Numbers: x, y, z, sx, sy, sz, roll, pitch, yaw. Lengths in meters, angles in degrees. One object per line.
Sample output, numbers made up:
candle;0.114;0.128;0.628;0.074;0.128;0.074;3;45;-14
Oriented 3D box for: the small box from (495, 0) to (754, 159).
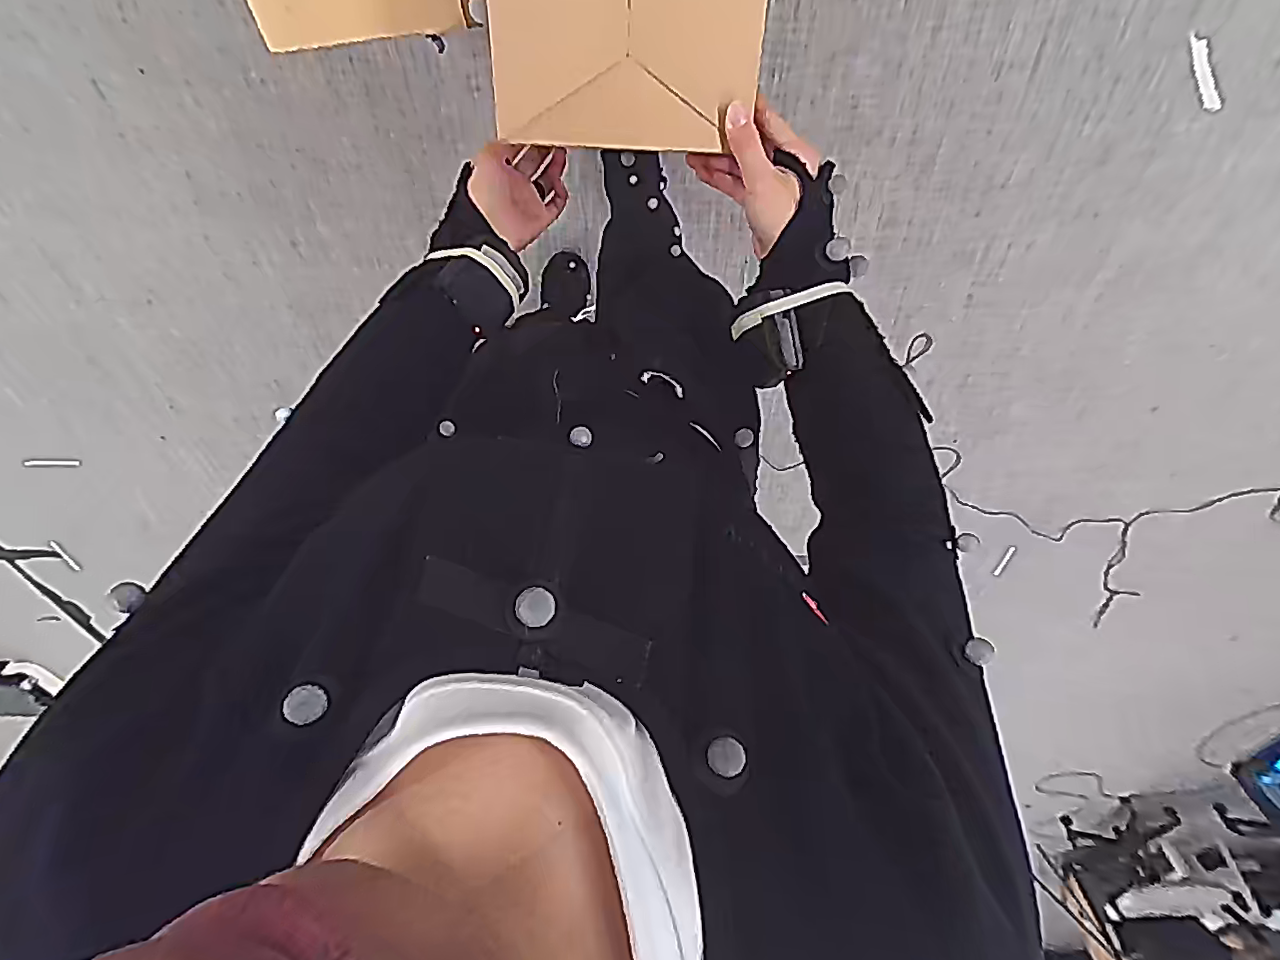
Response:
small box;-0.014;-0.345;0.414;0.179;0.176;0.168;-2;121;-7
